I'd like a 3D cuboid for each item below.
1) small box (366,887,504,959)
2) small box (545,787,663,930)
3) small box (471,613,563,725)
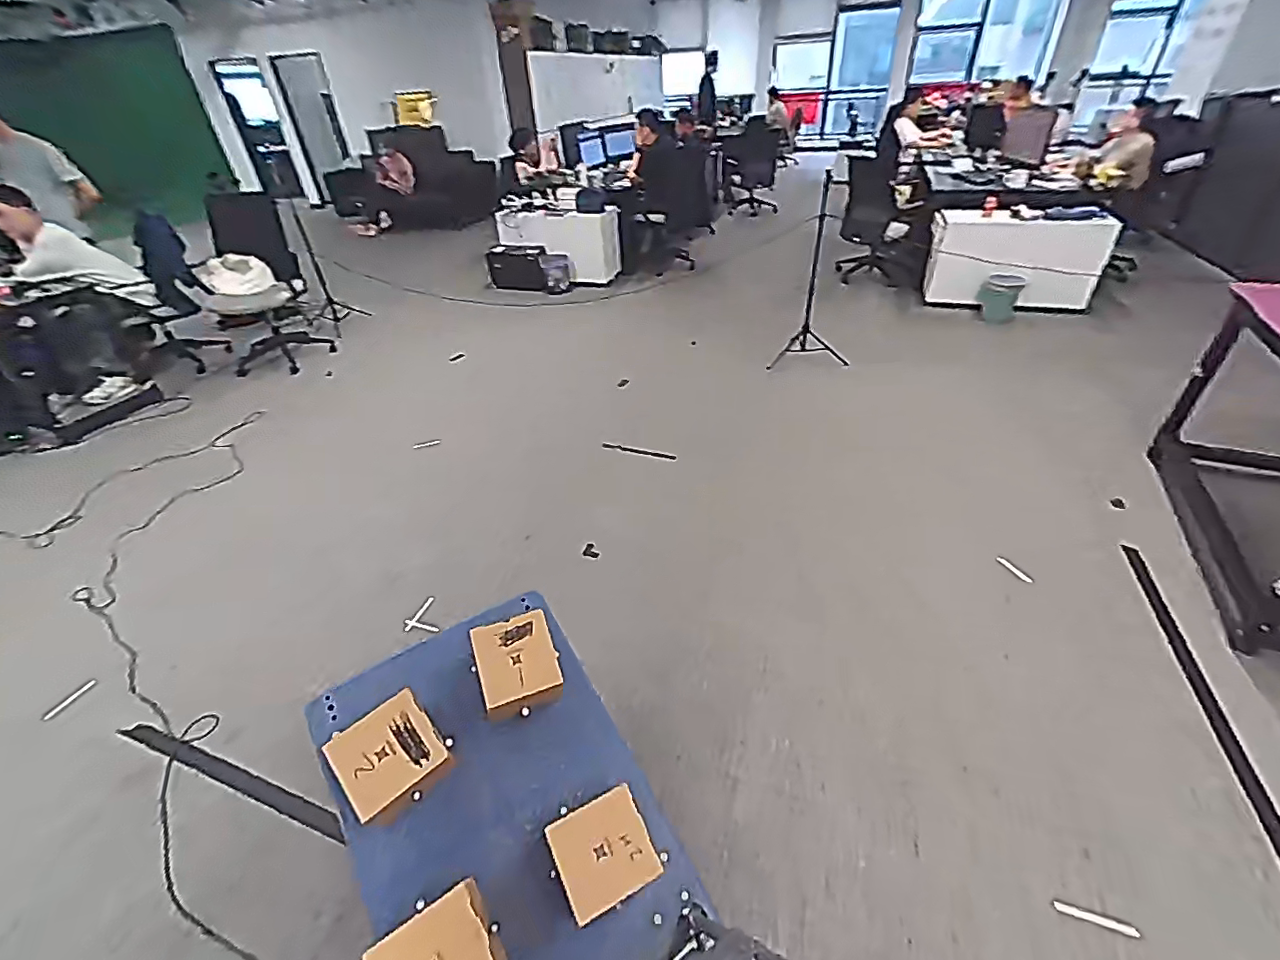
[{"bbox_3d":[-0.346,0.849,0.938,0.179,0.176,0.168,-25,64,-27],"label":"small box"},{"bbox_3d":[-0.077,0.737,1.066,0.179,0.176,0.168,-19,63,-22],"label":"small box"},{"bbox_3d":[-0.282,0.432,1.232,0.168,0.176,0.179,-14,61,-20],"label":"small box"}]
